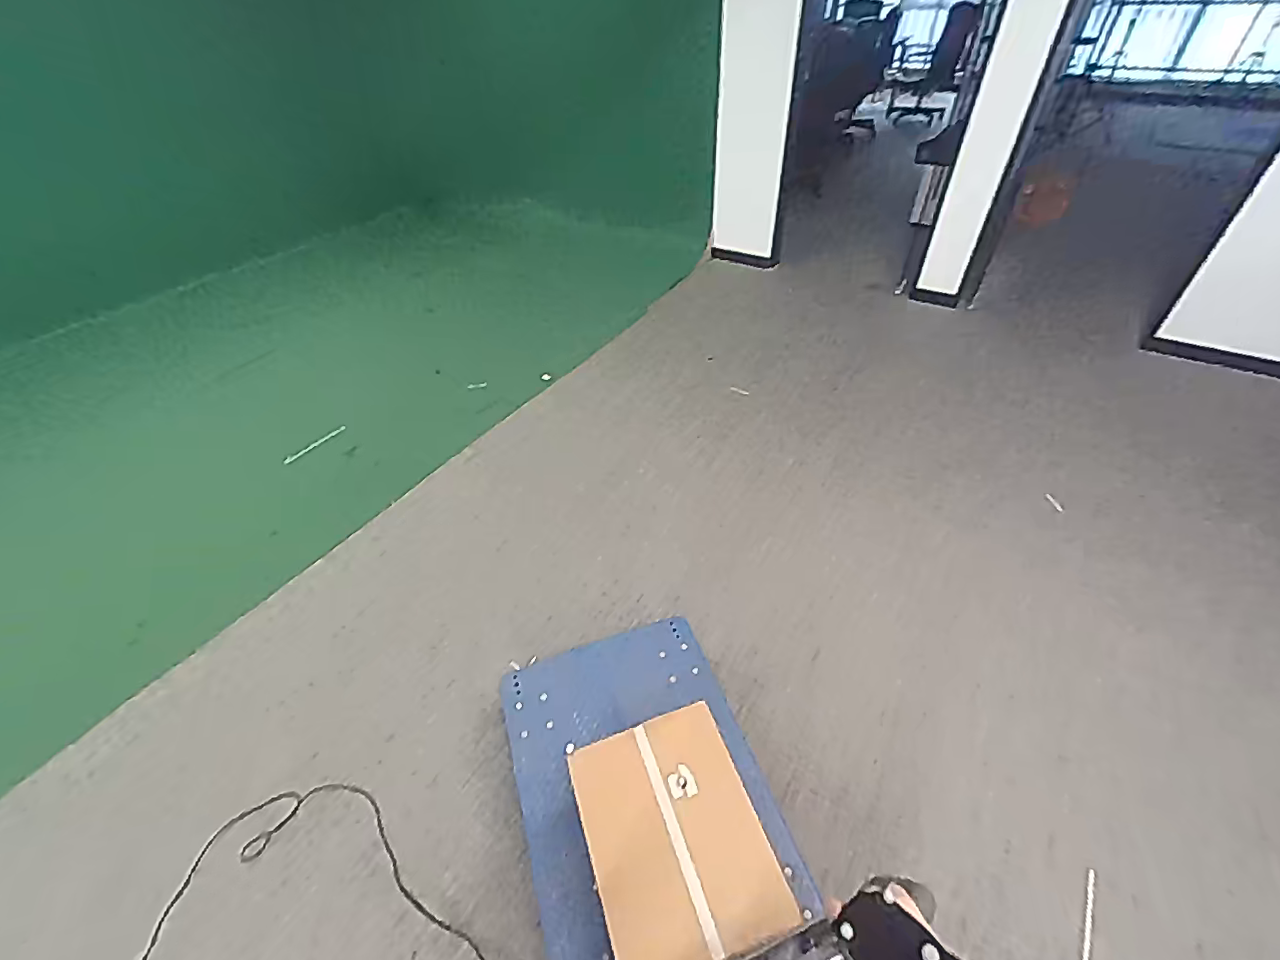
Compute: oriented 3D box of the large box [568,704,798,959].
[{"bbox_3d":[0.072,0.765,1.118,0.320,0.320,0.408,-16,44,-12],"label":"large box"}]
